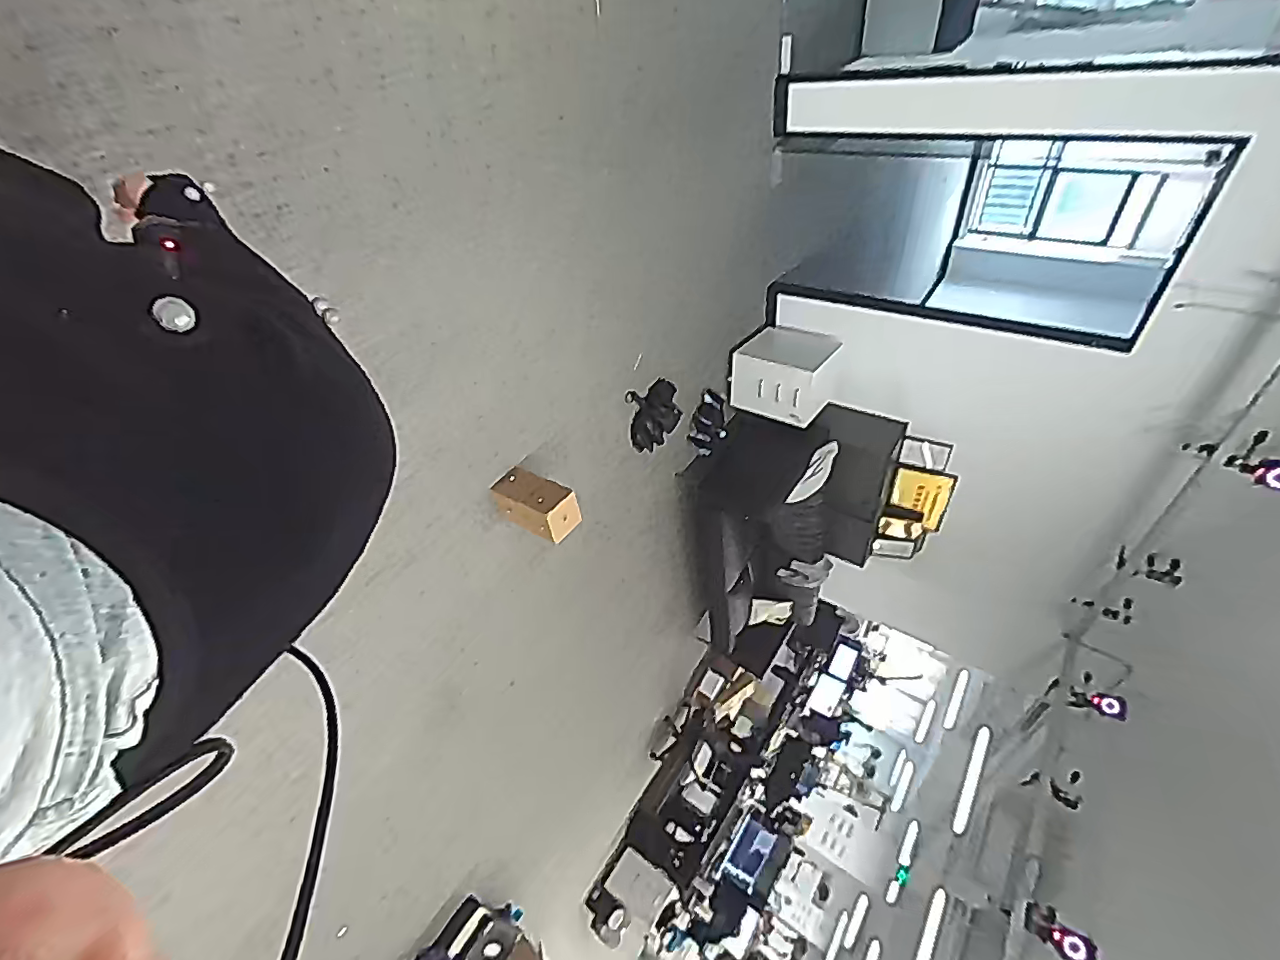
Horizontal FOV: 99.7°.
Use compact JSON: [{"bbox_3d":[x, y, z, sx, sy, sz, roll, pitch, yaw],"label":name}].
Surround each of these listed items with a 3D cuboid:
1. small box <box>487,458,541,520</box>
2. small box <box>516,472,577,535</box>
[{"bbox_3d":[-0.518,0.035,2.306,0.168,0.176,0.179,-47,145,-32],"label":"small box"},{"bbox_3d":[-0.388,0.088,2.226,0.168,0.176,0.179,-45,146,-32],"label":"small box"}]
